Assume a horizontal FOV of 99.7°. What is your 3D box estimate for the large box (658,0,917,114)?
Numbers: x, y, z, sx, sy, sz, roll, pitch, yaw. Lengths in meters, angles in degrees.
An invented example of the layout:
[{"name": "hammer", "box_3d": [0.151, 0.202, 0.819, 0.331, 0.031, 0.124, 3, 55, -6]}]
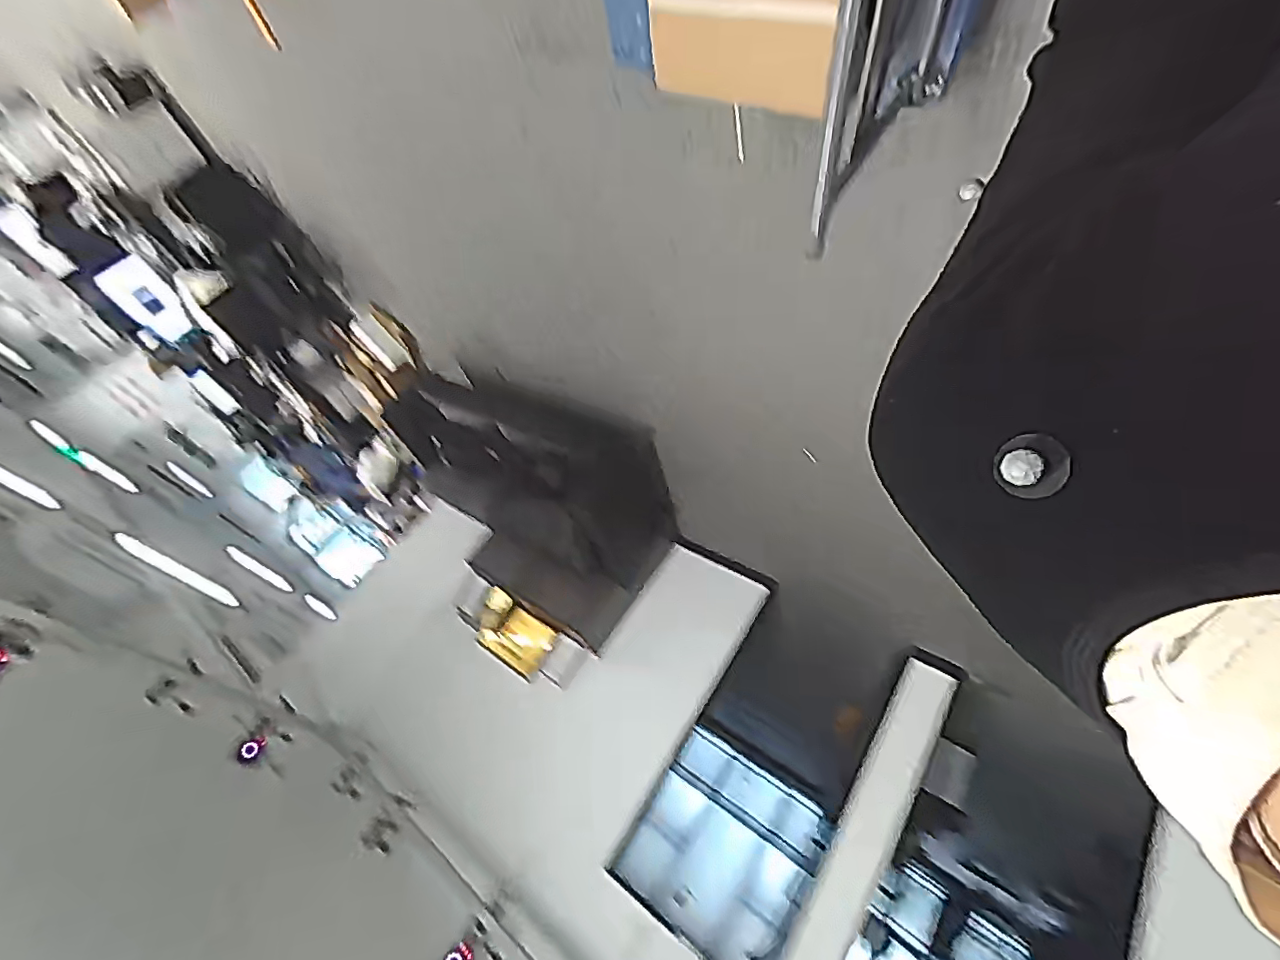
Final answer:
[{"name": "large box", "box_3d": [0.281, -0.944, 1.004, 0.408, 0.320, 0.320, 28, 154, 24]}]
